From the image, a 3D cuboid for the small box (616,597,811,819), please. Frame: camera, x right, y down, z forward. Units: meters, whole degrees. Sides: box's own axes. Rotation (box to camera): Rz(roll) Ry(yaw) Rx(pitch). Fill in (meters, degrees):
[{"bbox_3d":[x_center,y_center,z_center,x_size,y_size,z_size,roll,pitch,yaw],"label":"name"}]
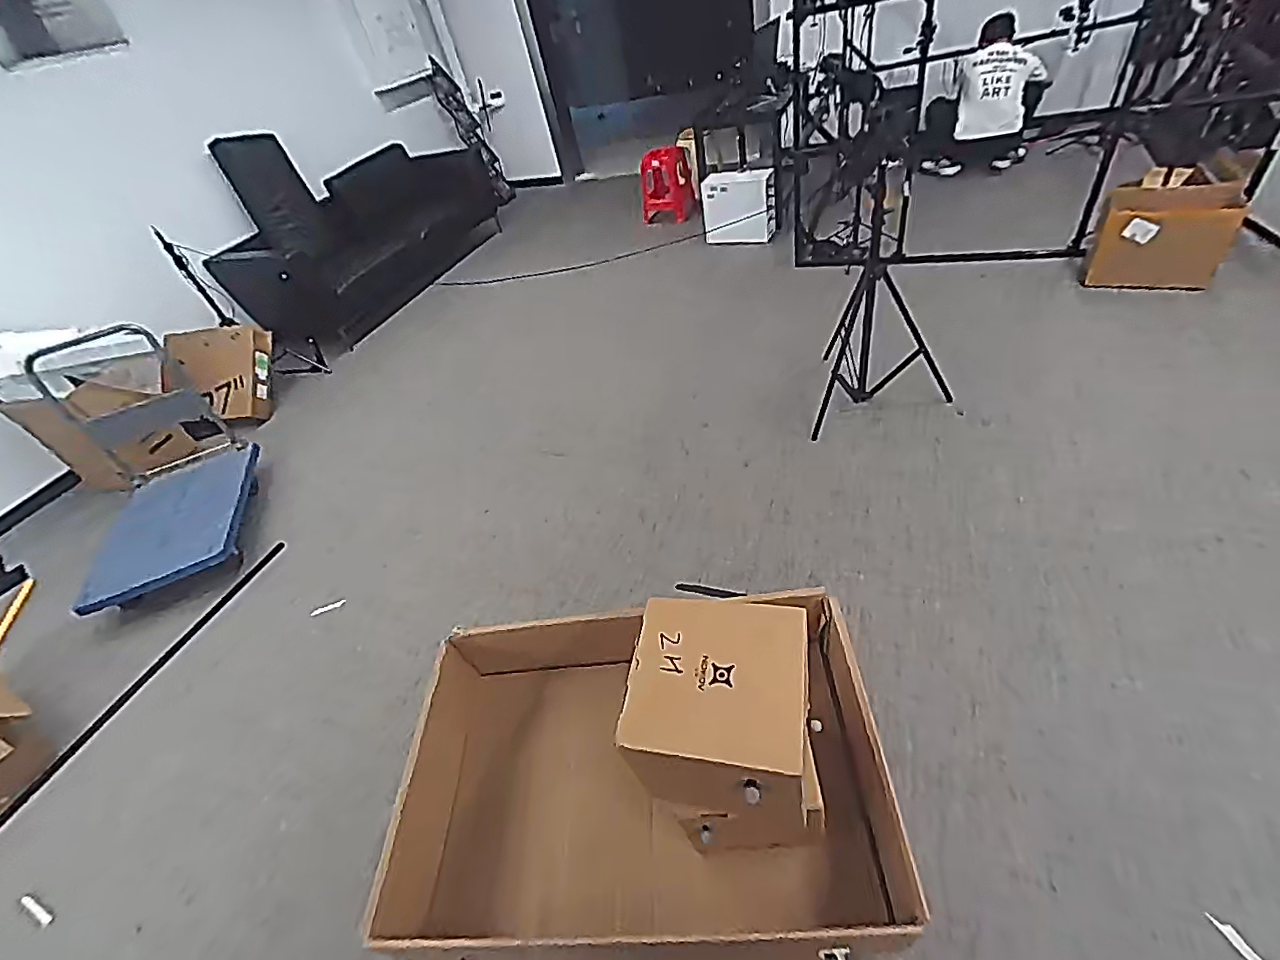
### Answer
[{"bbox_3d":[0.094,0.249,0.594,0.179,0.176,0.168,0,45,18],"label":"small box"}]
